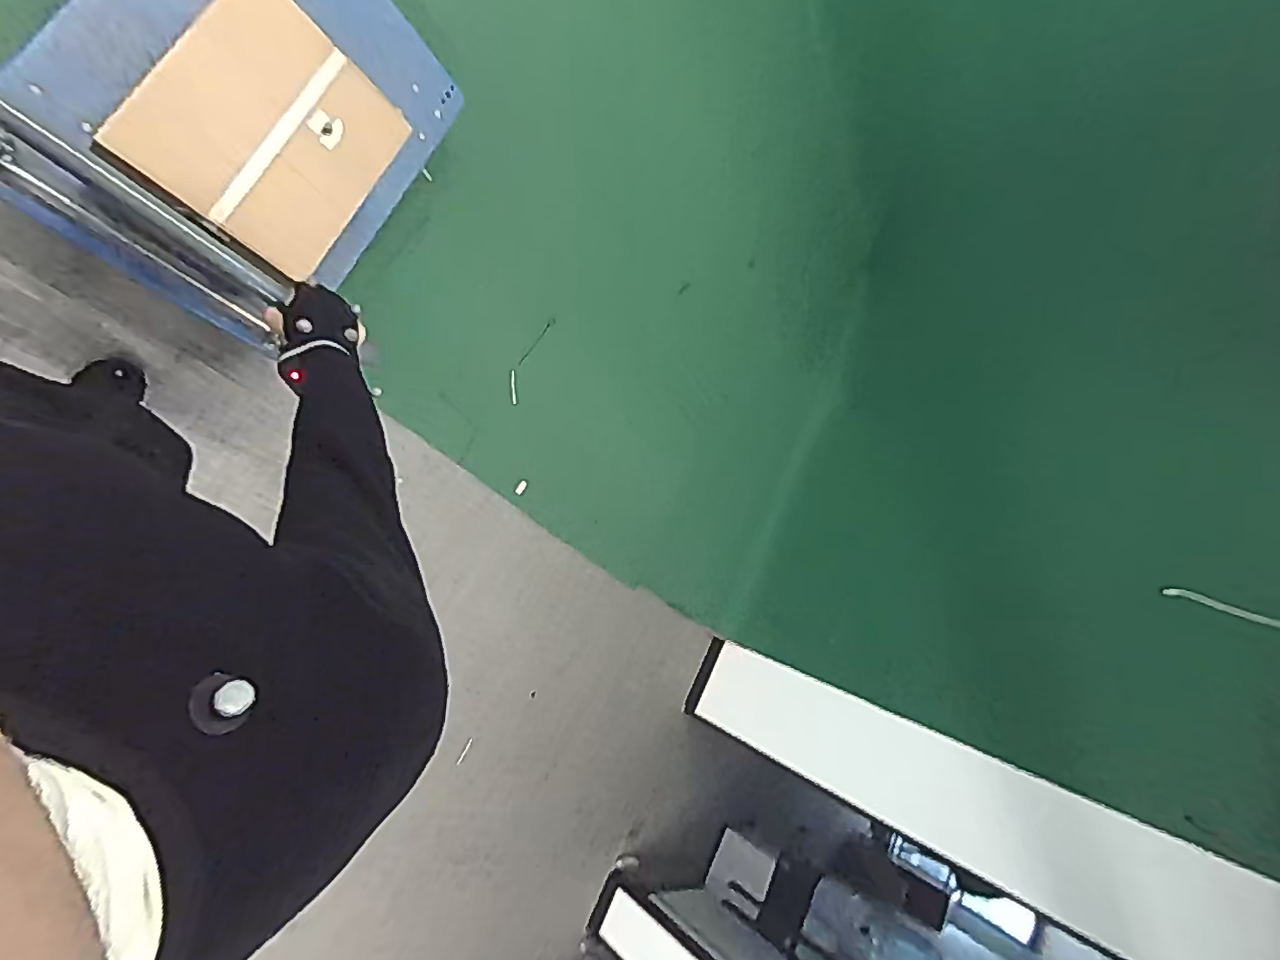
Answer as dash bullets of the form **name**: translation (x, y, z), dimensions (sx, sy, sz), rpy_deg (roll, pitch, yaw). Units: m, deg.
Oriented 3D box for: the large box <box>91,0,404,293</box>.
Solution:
- **large box**: translation (-0.748, -0.631, 1.045), dimensions (0.320, 0.320, 0.408), rpy_deg (39, 70, -46)
